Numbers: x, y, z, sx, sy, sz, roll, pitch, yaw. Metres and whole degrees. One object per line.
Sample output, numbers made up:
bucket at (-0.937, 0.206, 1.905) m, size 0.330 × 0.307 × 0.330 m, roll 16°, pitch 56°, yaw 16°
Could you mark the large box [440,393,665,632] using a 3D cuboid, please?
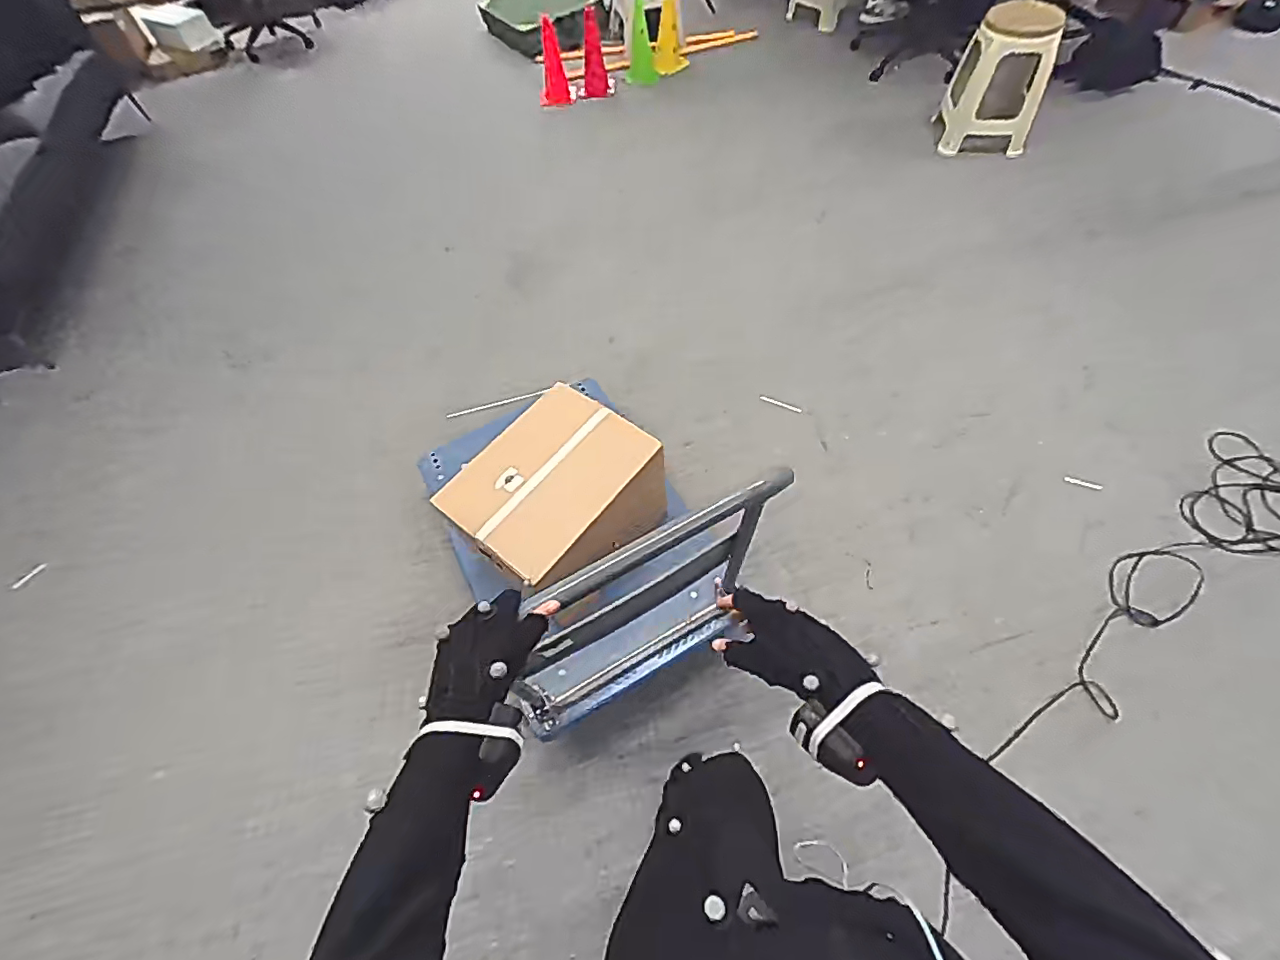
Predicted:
large box at (-0.176, 0.079, 1.285) m, size 0.320 × 0.320 × 0.408 m, roll 31°, pitch 67°, yaw 22°
